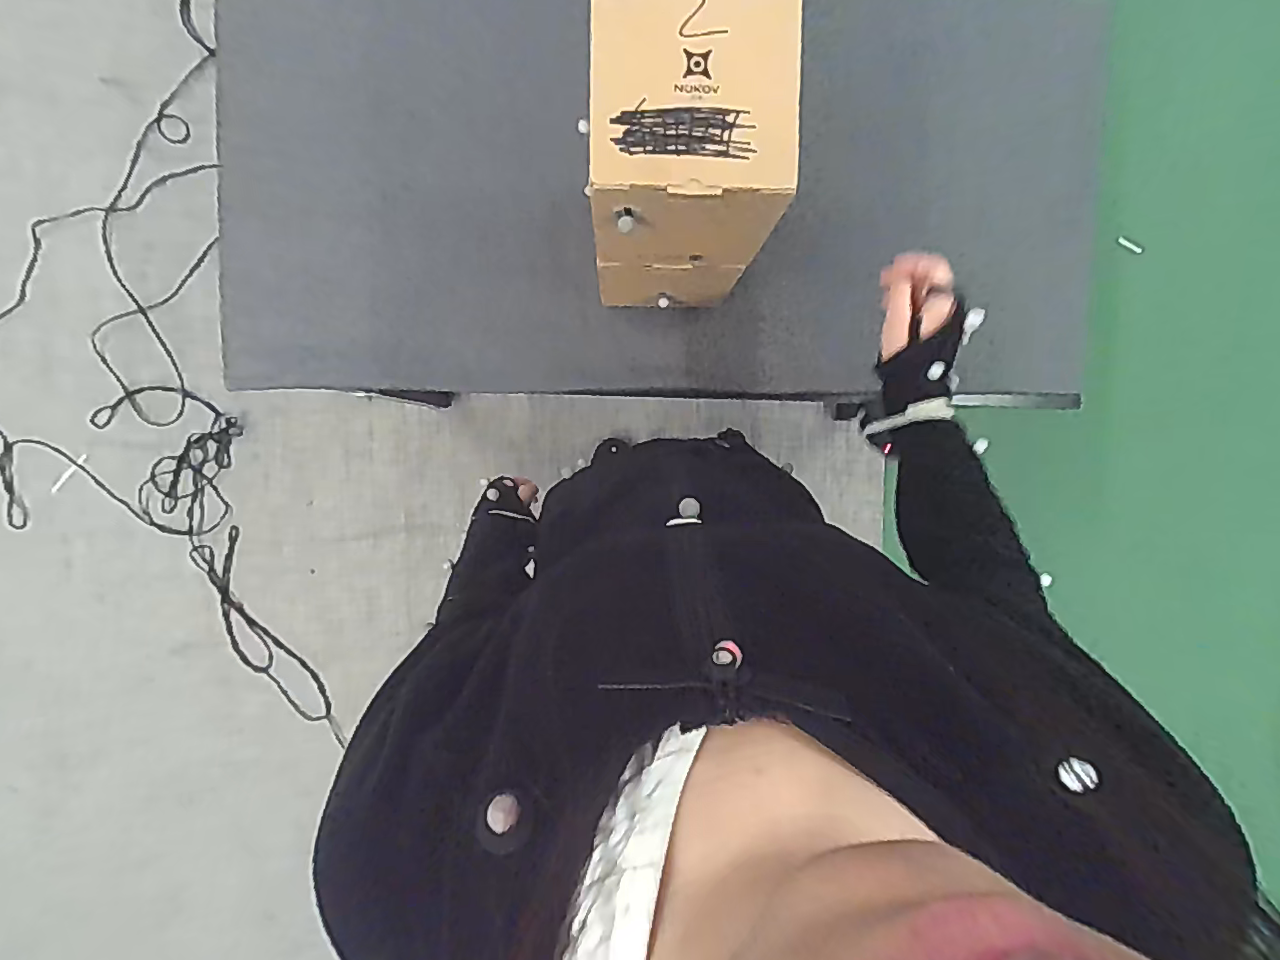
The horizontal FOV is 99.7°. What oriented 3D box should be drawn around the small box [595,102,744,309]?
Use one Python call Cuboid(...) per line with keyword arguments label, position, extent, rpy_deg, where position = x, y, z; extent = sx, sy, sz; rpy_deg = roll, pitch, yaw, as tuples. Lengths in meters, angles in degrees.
Cuboid(label="small box", position=(0.028, -0.324, 0.669), extent=(0.168, 0.176, 0.179), rpy_deg=(-1, 93, -2))
